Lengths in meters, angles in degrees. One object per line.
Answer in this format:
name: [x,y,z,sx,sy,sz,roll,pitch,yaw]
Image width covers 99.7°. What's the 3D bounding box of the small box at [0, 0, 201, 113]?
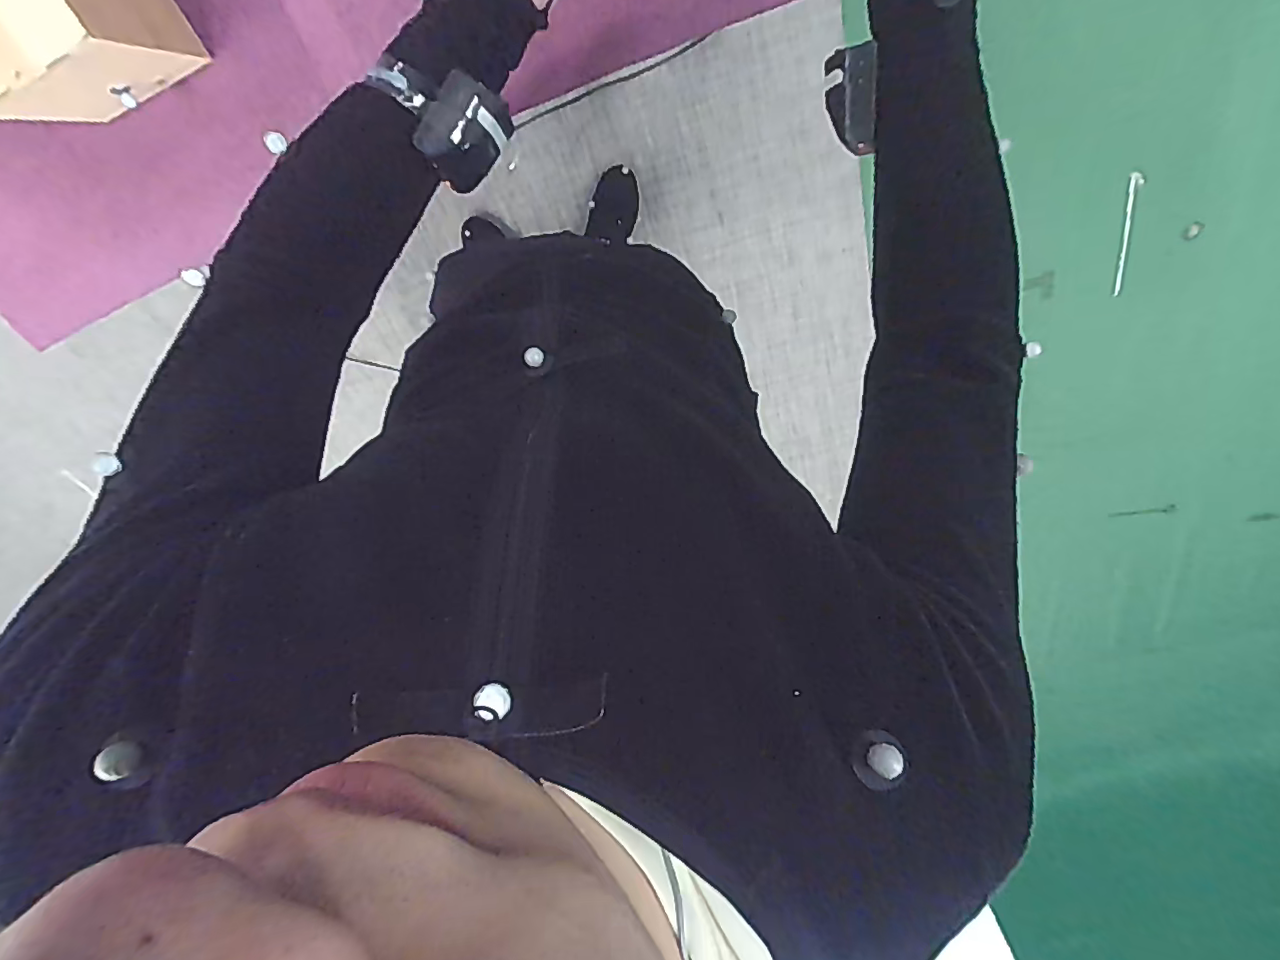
small box: [-0.592,-0.478,0.513,0.168,0.176,0.179,-18,122,11]
